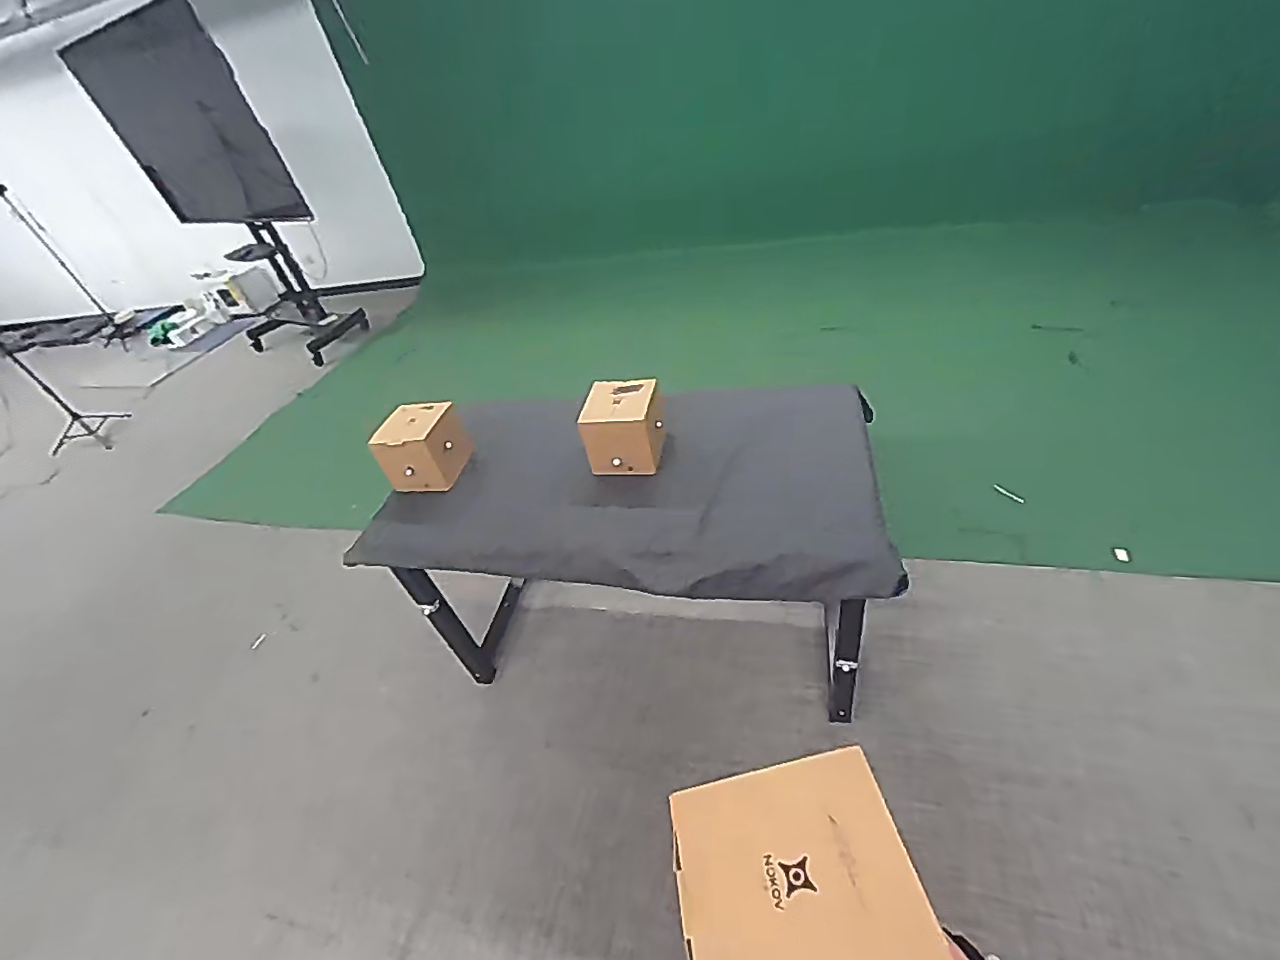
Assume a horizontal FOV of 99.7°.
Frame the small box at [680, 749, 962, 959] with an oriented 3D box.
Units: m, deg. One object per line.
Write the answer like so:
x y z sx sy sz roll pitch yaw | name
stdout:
0.148 0.369 0.463 0.179 0.176 0.168 -17 35 4 | small box

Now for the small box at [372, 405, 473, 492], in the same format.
-0.576 -0.081 1.461 0.168 0.176 0.179 -1 42 13 | small box

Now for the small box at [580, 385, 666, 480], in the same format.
-0.034 -0.121 1.362 0.168 0.176 0.179 0 43 15 | small box
